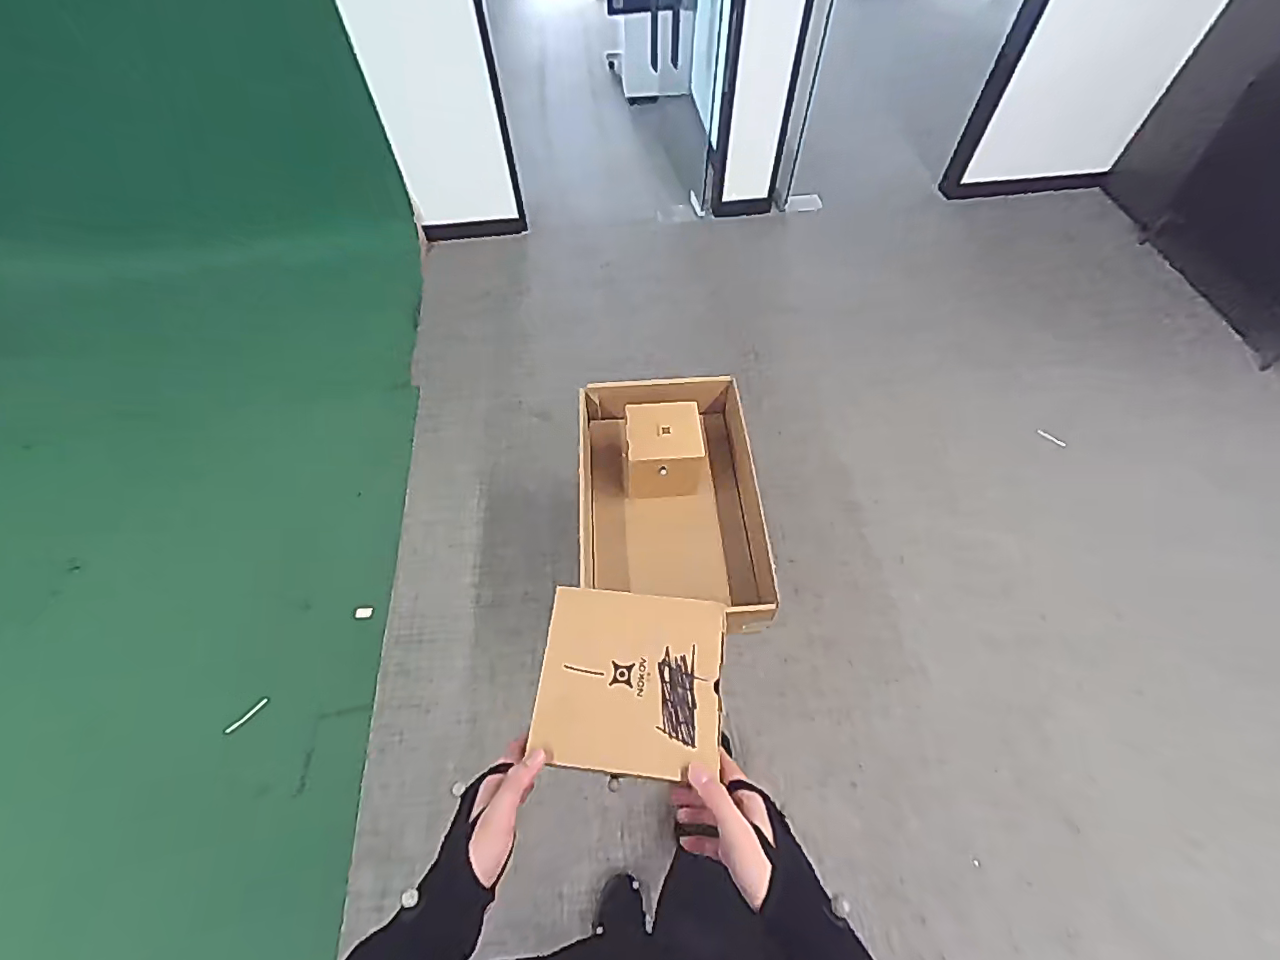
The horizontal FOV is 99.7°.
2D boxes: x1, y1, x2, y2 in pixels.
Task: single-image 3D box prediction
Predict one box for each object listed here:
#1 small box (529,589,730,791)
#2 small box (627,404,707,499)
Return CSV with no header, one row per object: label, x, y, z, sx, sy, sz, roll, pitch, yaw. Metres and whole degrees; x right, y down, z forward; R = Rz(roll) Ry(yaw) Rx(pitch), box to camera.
small box,-0.003,0.230,0.583,0.179,0.176,0.168,5,60,4
small box,0.059,-0.067,1.315,0.179,0.176,0.168,-4,58,-1
